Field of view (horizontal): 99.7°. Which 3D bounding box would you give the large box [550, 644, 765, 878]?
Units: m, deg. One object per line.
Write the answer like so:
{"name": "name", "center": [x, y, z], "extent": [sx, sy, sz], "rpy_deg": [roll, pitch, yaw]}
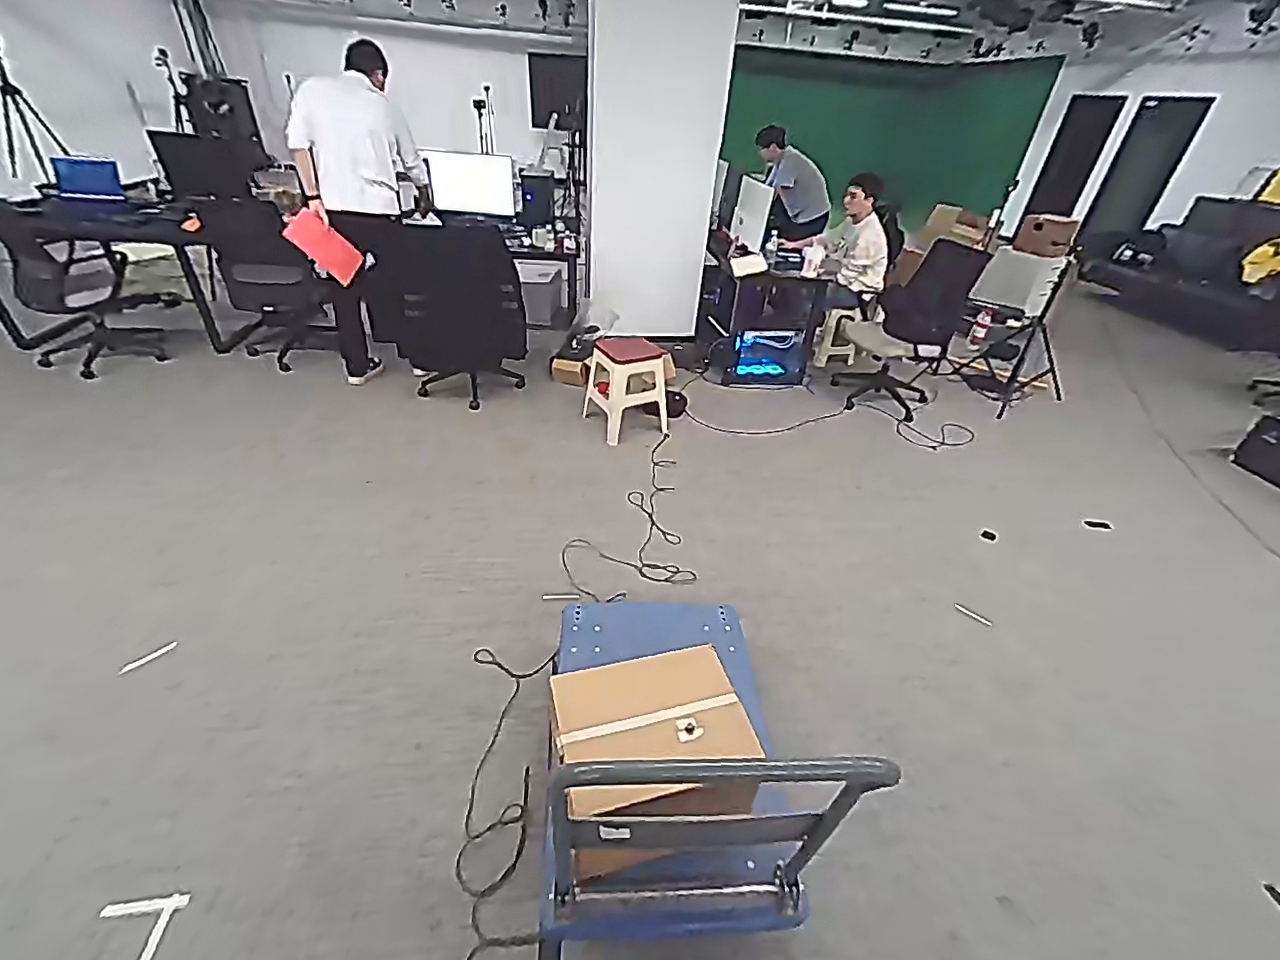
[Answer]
{"name": "large box", "center": [0.018, 0.639, 1.257], "extent": [0.408, 0.320, 0.320], "rpy_deg": [-6, 37, -16]}
